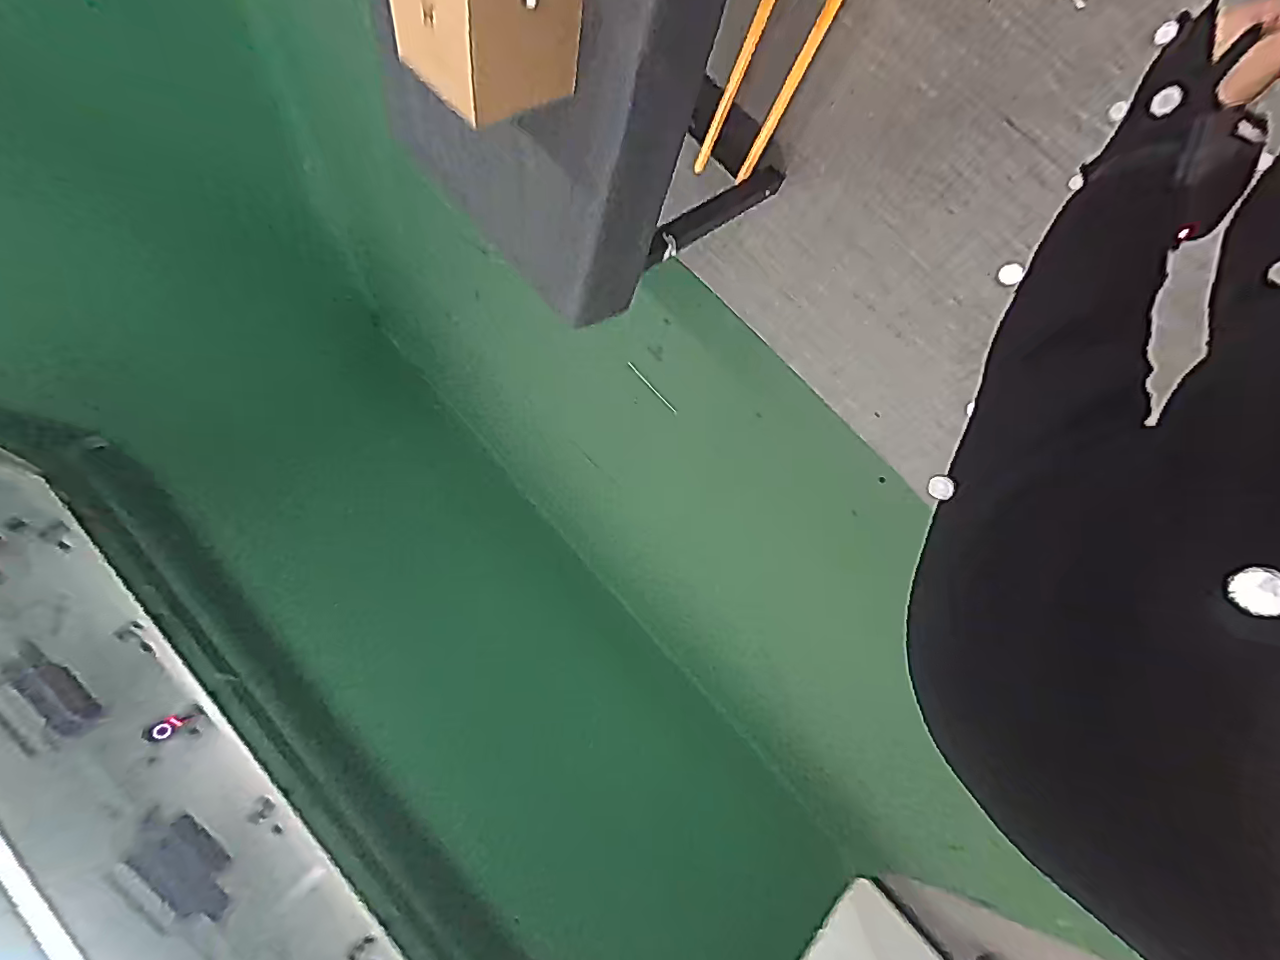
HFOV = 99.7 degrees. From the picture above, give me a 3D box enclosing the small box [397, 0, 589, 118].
[{"bbox_3d":[-0.175,-0.592,0.651,0.168,0.176,0.179,47,155,10],"label":"small box"}]
